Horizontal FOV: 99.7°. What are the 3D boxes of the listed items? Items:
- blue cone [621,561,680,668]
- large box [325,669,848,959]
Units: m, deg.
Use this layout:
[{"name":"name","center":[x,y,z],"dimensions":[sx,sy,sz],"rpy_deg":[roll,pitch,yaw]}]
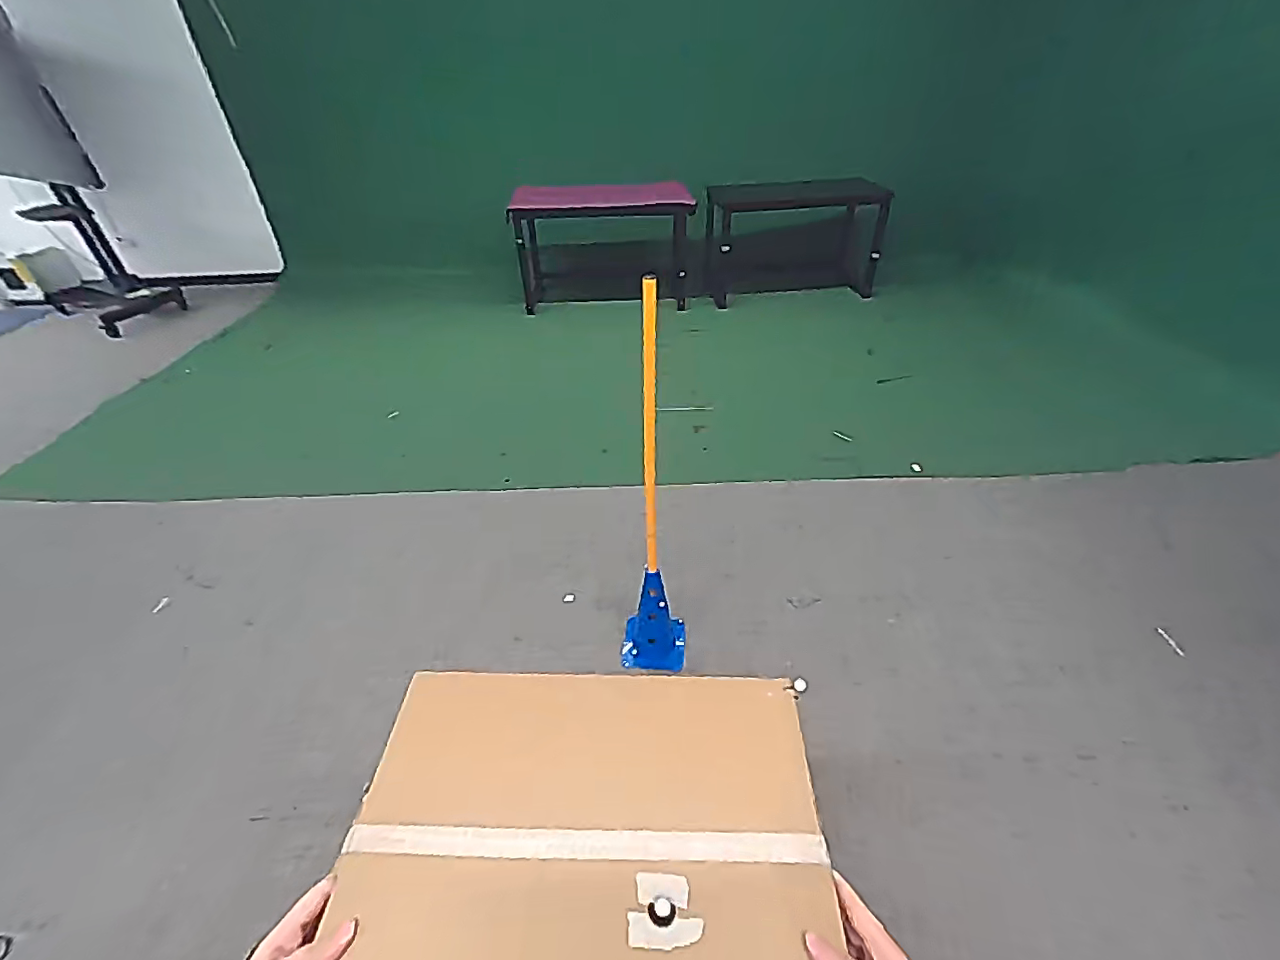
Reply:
[{"name":"blue cone","center":[0.032,0.406,1.693],"dimensions":[0.193,0.380,0.192],"rpy_deg":[4,38,7]},{"name":"large box","center":[-0.040,0.422,0.568],"dimensions":[0.408,0.320,0.320],"rpy_deg":[1,41,1]}]
